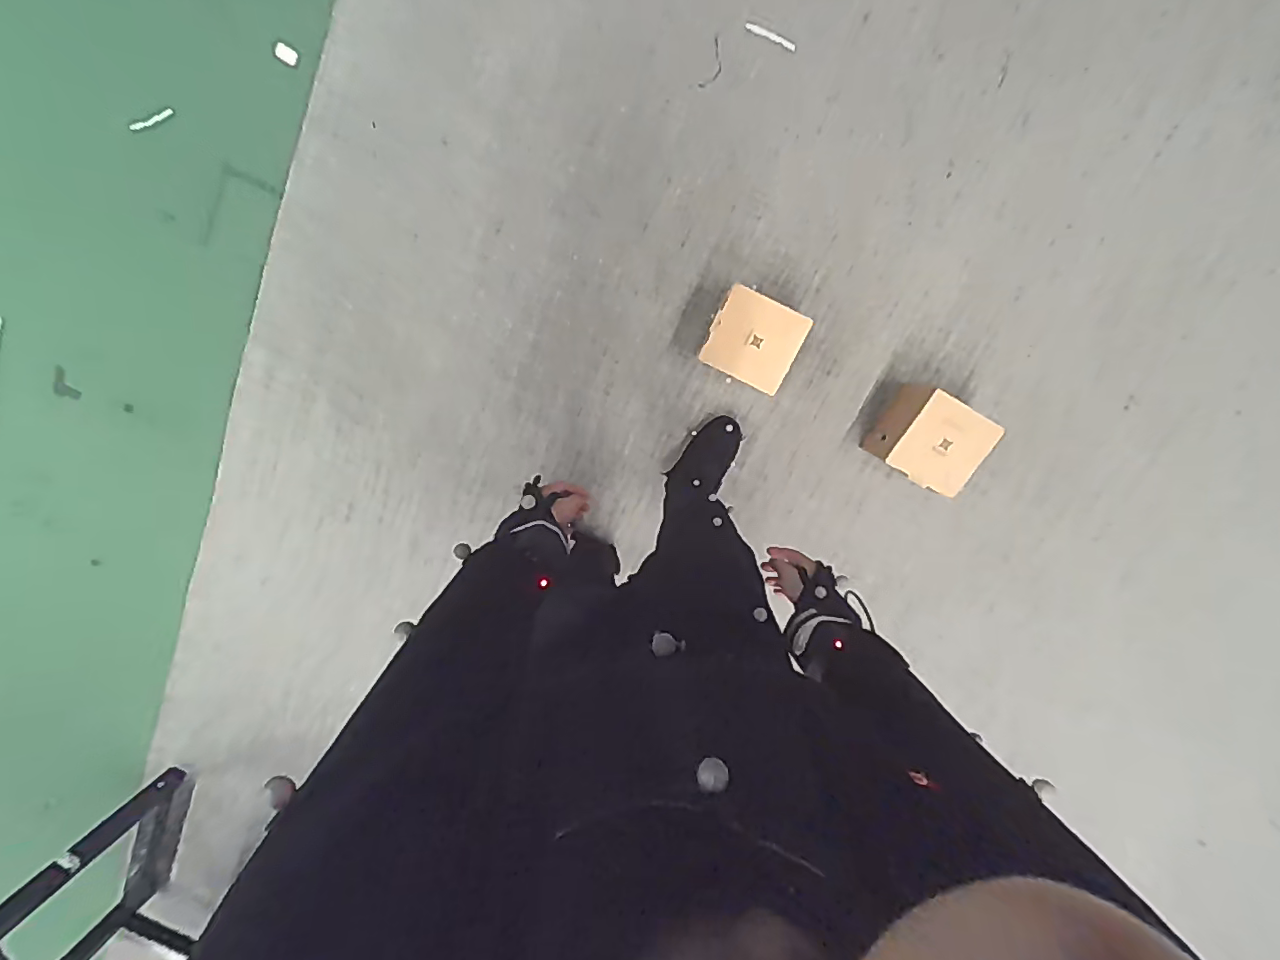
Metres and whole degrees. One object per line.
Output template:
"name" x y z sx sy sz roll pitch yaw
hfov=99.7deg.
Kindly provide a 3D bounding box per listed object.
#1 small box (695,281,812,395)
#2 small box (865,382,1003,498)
"small box" 0.230 -0.297 1.137 0.179 0.176 0.168 26 105 -1
"small box" 0.608 -0.092 1.151 0.168 0.176 0.179 29 104 -3
